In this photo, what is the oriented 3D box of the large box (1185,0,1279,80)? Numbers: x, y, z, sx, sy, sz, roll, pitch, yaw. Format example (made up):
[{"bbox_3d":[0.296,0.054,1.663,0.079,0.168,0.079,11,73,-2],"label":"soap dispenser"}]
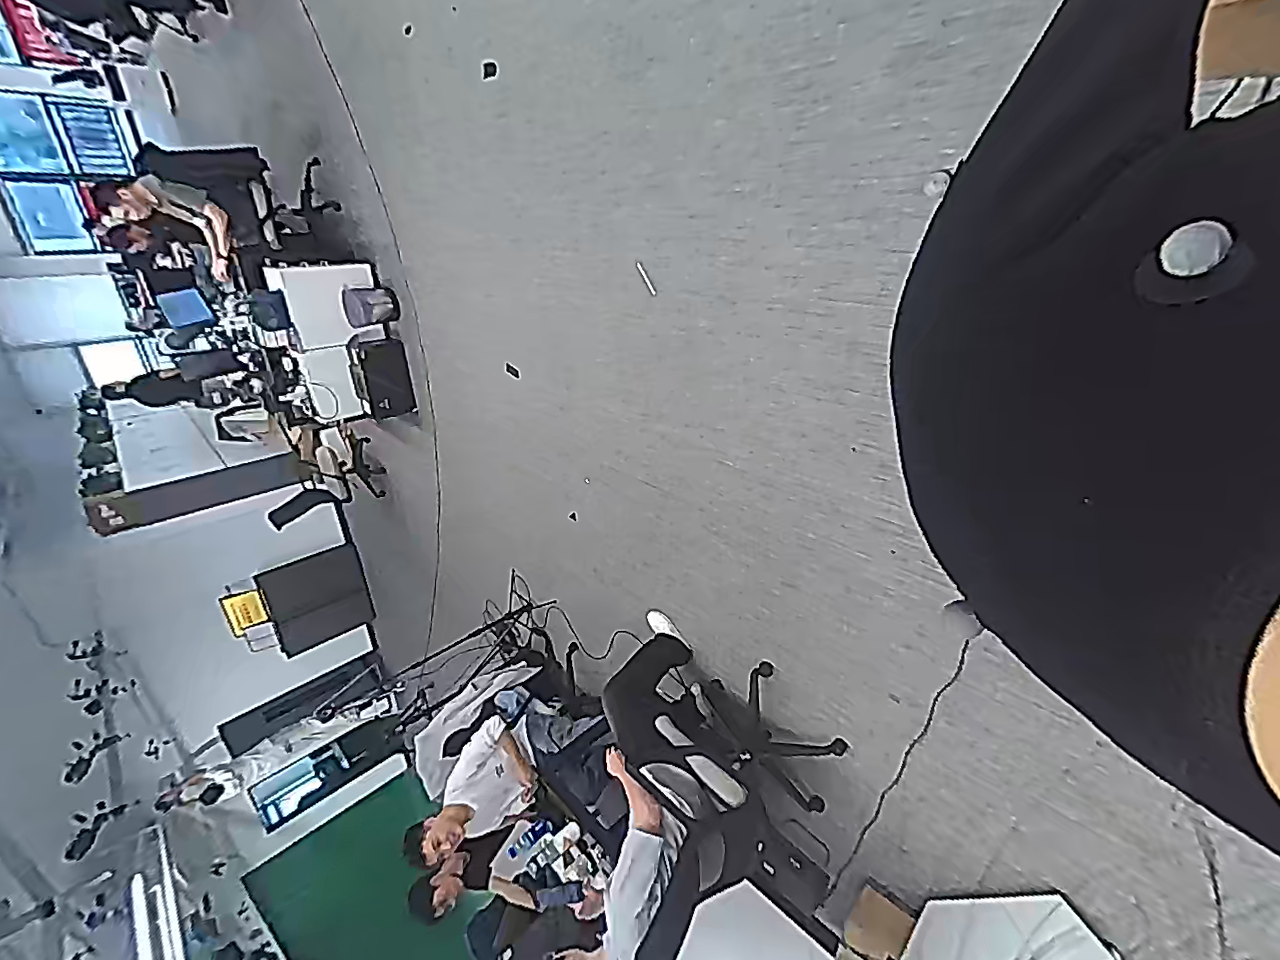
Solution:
[{"bbox_3d":[0.673,-0.487,0.331,0.408,0.320,0.320,25,125,40],"label":"large box"}]
